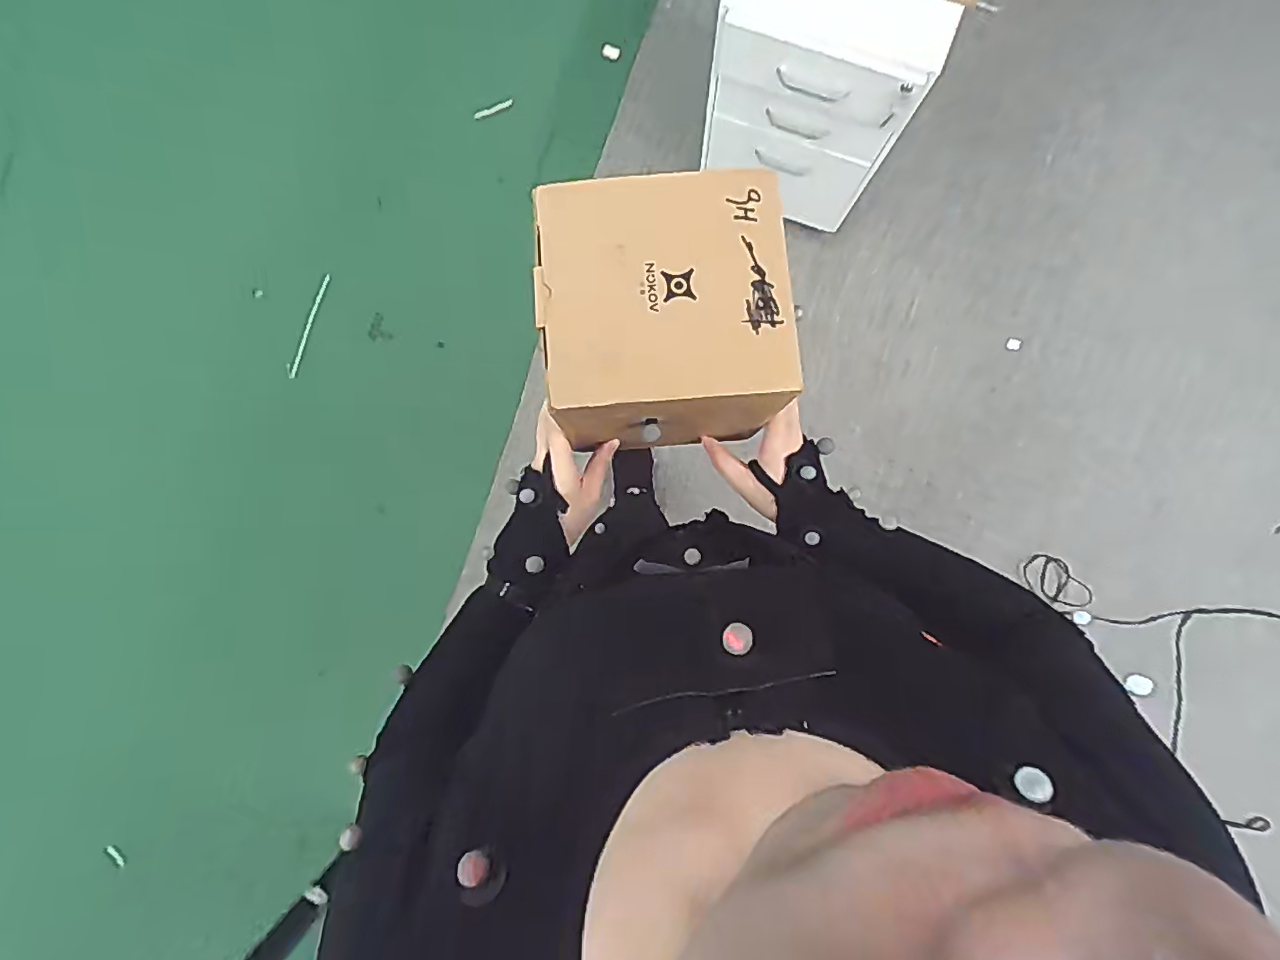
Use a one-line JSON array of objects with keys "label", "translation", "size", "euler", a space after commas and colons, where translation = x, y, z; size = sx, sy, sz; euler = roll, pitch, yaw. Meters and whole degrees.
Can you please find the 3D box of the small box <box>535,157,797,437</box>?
[{"label": "small box", "translation": [0.016, -0.135, 0.457], "size": [0.179, 0.176, 0.168], "euler": [-4, 83, -1]}]
